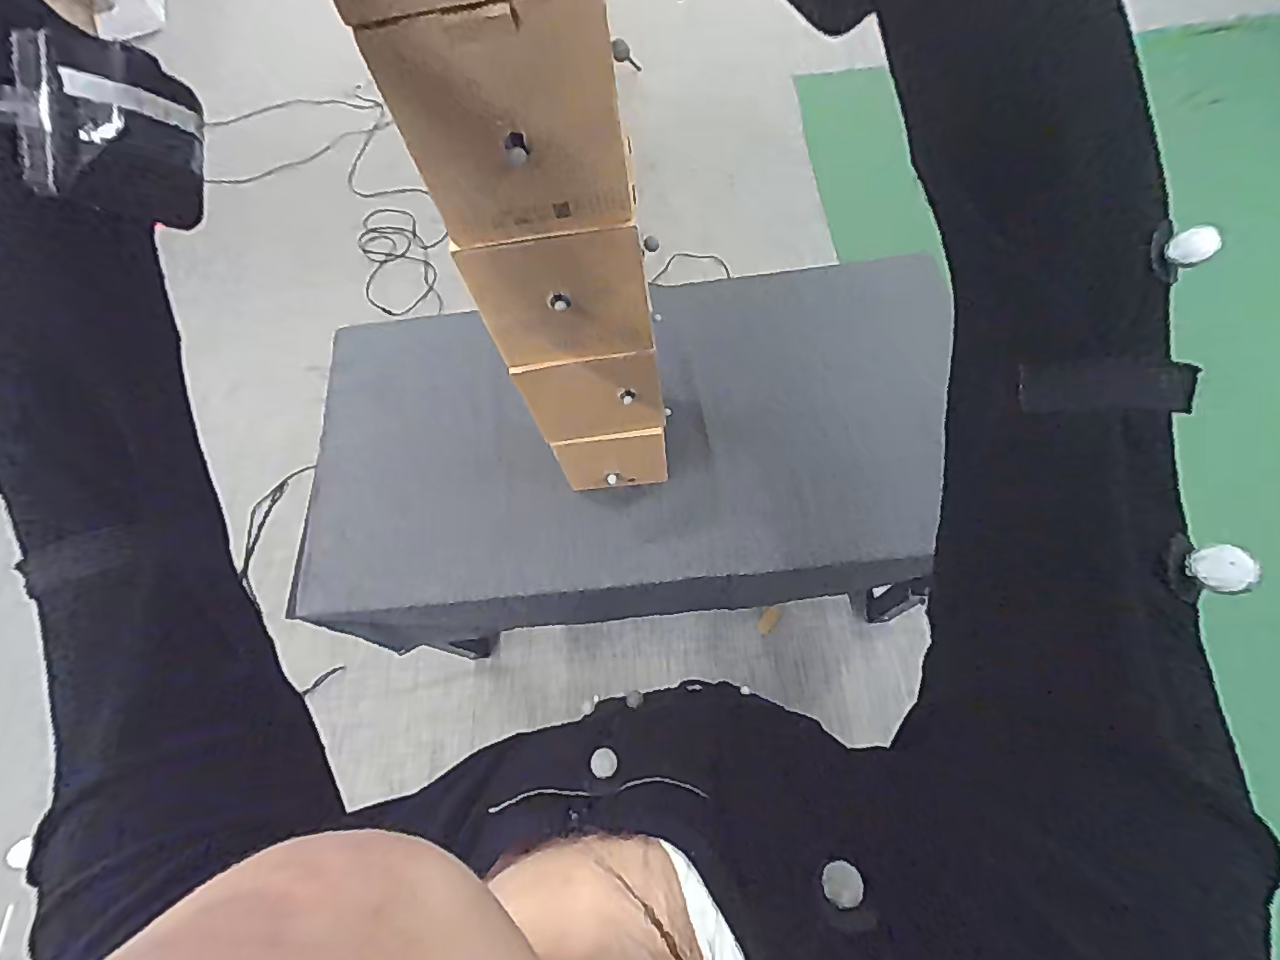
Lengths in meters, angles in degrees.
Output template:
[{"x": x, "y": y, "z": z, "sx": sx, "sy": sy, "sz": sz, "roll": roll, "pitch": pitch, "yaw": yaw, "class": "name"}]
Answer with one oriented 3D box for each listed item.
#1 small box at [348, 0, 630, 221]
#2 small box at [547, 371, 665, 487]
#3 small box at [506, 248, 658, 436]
[{"x": -0.103, "y": -0.338, "z": 0.444, "sx": 0.168, "sy": 0.176, "sz": 0.179, "roll": -7, "pitch": 64, "yaw": 3, "class": "small box"}, {"x": -0.050, "y": -0.105, "z": 0.872, "sx": 0.168, "sy": 0.176, "sz": 0.179, "roll": -6, "pitch": 65, "yaw": 4, "class": "small box"}, {"x": -0.070, "y": -0.177, "z": 0.727, "sx": 0.179, "sy": 0.176, "sz": 0.168, "roll": -8, "pitch": 63, "yaw": 2, "class": "small box"}]
